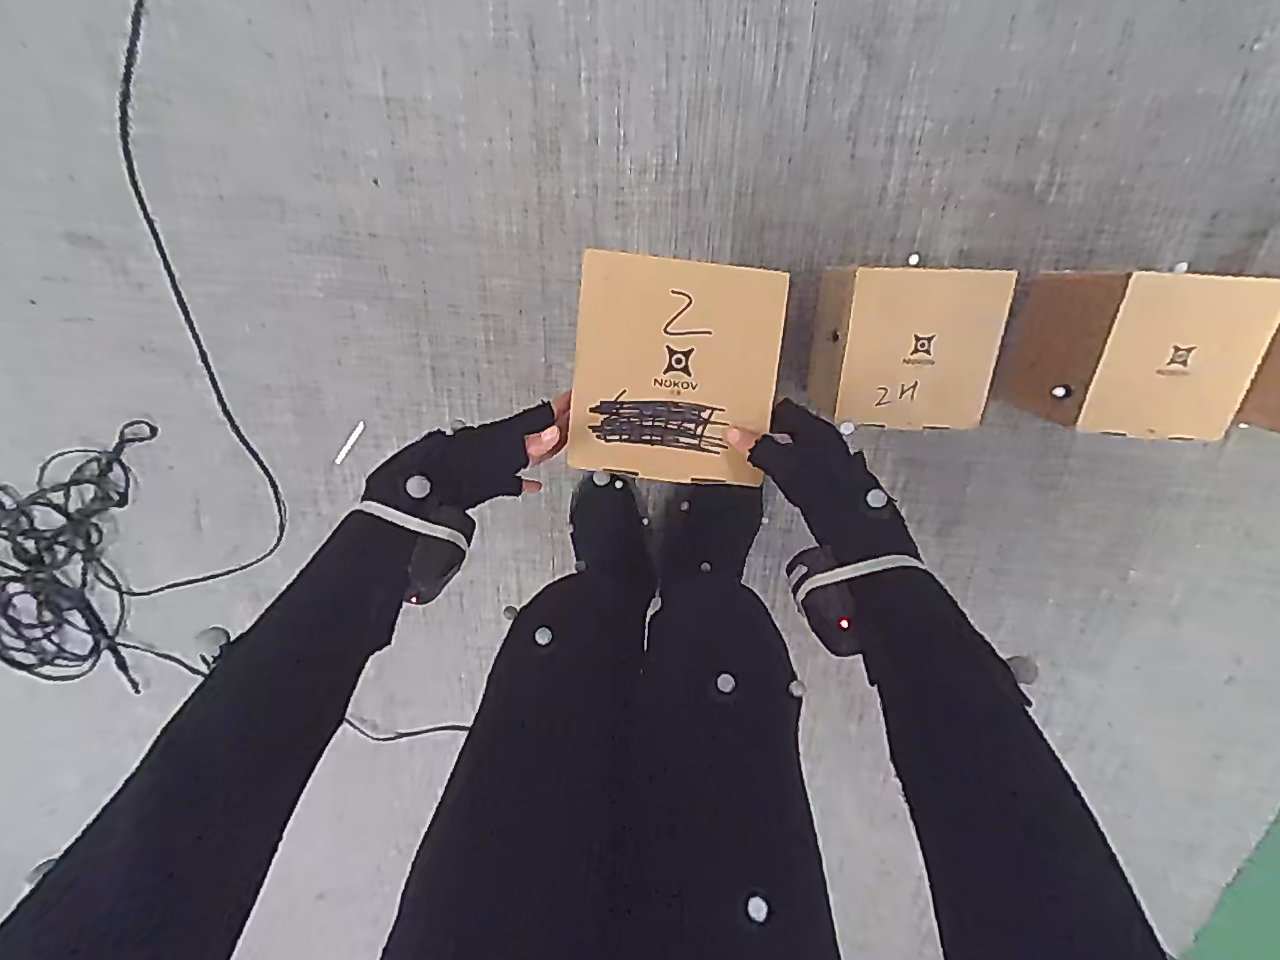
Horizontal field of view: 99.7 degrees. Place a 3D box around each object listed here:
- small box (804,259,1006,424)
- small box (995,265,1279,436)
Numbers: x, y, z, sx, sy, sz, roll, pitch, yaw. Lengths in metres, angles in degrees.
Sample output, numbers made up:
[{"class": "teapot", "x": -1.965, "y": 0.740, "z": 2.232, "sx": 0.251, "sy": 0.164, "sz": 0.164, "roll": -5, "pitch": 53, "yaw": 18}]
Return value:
[{"class": "small box", "x": 0.310, "y": -0.179, "z": 0.677, "sx": 0.168, "sy": 0.176, "sz": 0.179, "roll": 4, "pitch": 112, "yaw": 5}, {"class": "small box", "x": 0.577, "y": -0.166, "z": 0.663, "sx": 0.168, "sy": 0.176, "sz": 0.179, "roll": 4, "pitch": 112, "yaw": 3}]
